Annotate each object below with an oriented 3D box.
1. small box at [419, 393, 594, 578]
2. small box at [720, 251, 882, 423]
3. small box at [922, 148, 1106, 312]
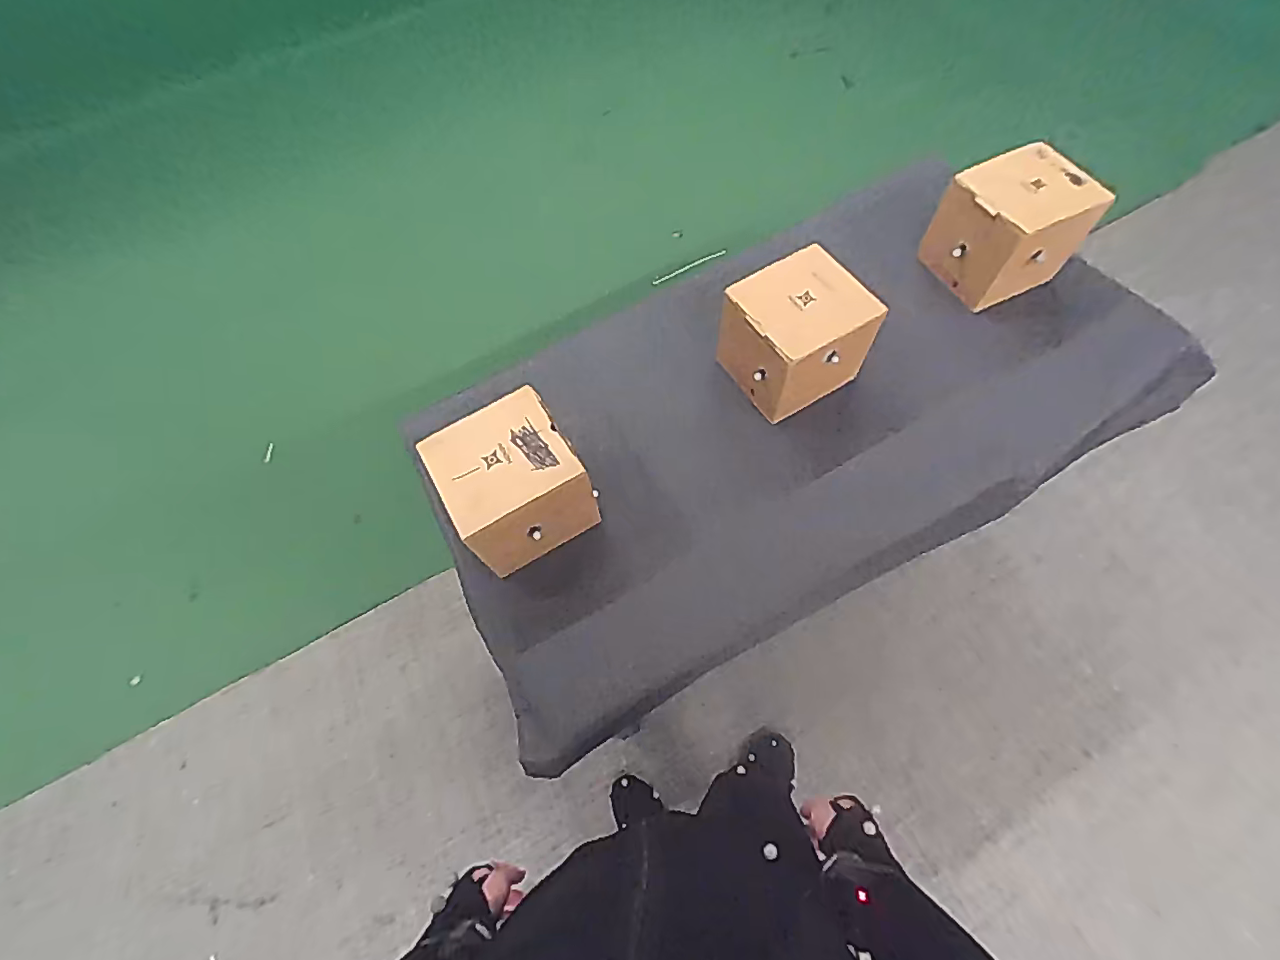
[{"bbox_3d":[-0.178,0.014,0.778,0.179,0.176,0.168,-30,65,-10],"label":"small box"},{"bbox_3d":[0.242,-0.221,0.867,0.179,0.176,0.168,-29,66,-11],"label":"small box"},{"bbox_3d":[0.623,-0.424,0.935,0.179,0.176,0.168,-24,65,-7],"label":"small box"}]
